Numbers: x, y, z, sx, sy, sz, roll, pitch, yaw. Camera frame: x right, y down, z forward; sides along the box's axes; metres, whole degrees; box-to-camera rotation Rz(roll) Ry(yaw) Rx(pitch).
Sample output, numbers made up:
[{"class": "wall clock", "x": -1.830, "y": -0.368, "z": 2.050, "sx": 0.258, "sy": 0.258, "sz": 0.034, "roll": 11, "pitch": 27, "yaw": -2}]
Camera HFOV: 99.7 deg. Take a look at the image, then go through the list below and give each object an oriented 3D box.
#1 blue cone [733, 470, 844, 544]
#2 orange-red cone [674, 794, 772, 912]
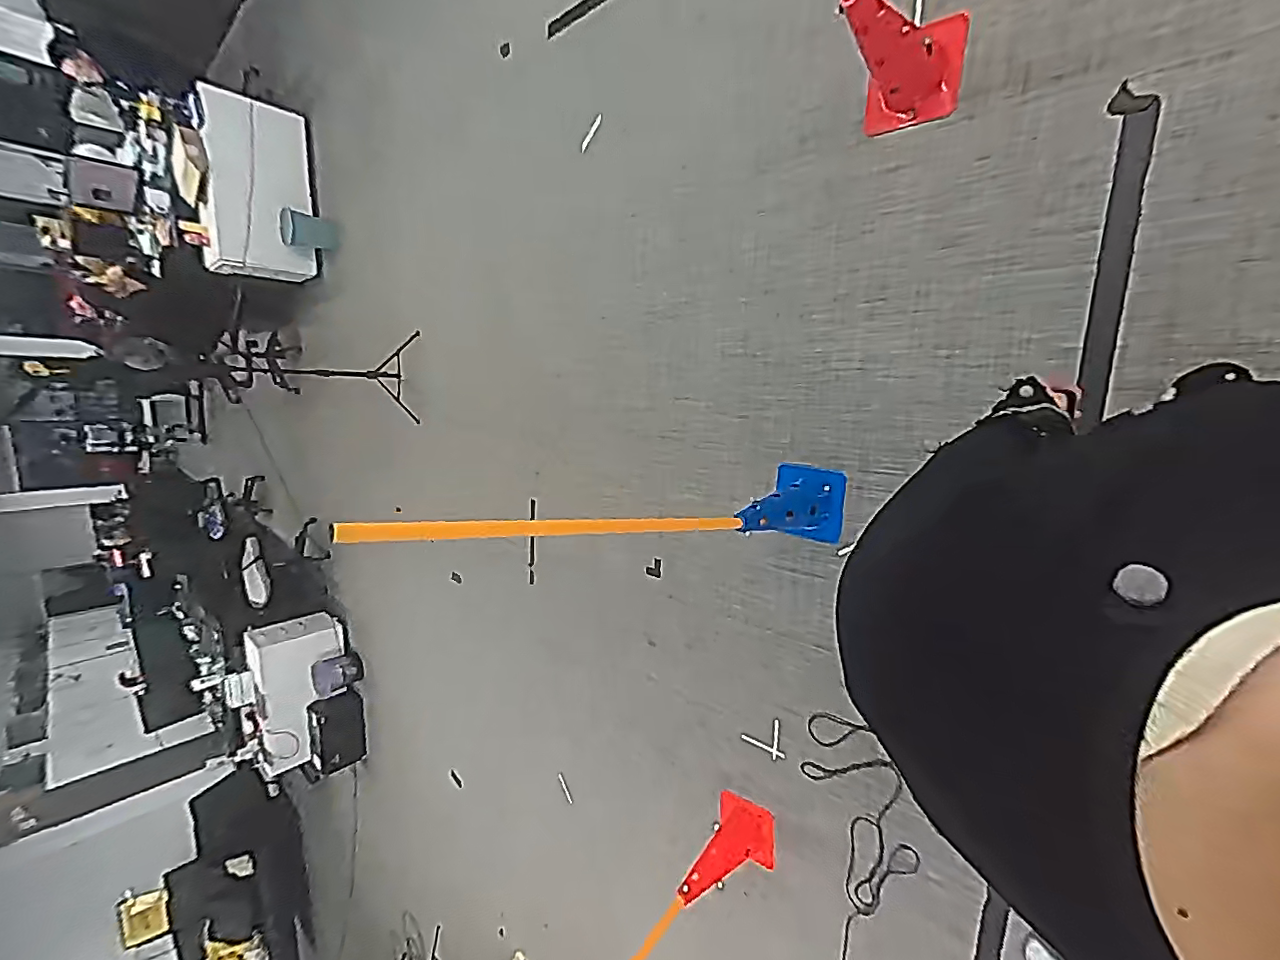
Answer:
[{"class": "blue cone", "x": 0.356, "y": 0.091, "z": 1.379, "sx": 0.193, "sy": 0.380, "sz": 0.192, "roll": 14, "pitch": 106, "yaw": 41}, {"class": "orange-red cone", "x": 0.227, "y": 1.165, "z": 1.635, "sx": 0.199, "sy": 0.360, "sz": 0.198, "roll": 4, "pitch": 99, "yaw": 42}]
